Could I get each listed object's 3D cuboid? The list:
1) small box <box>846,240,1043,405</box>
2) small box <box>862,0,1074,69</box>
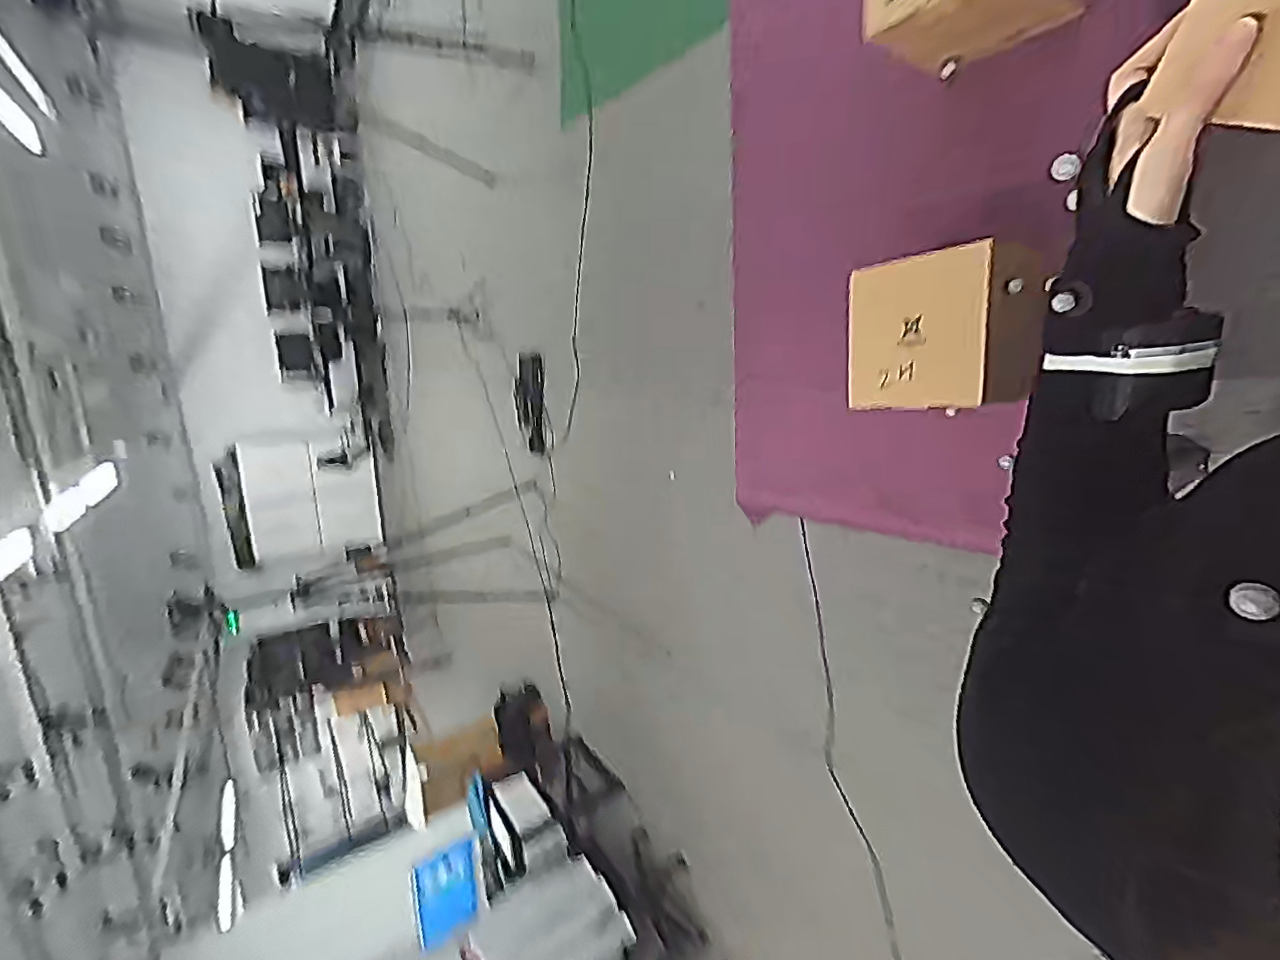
[{"bbox_3d":[0.388,-0.188,0.693,0.168,0.176,0.179,11,107,55],"label":"small box"},{"bbox_3d":[0.375,-0.603,0.608,0.168,0.176,0.179,14,109,53],"label":"small box"}]
